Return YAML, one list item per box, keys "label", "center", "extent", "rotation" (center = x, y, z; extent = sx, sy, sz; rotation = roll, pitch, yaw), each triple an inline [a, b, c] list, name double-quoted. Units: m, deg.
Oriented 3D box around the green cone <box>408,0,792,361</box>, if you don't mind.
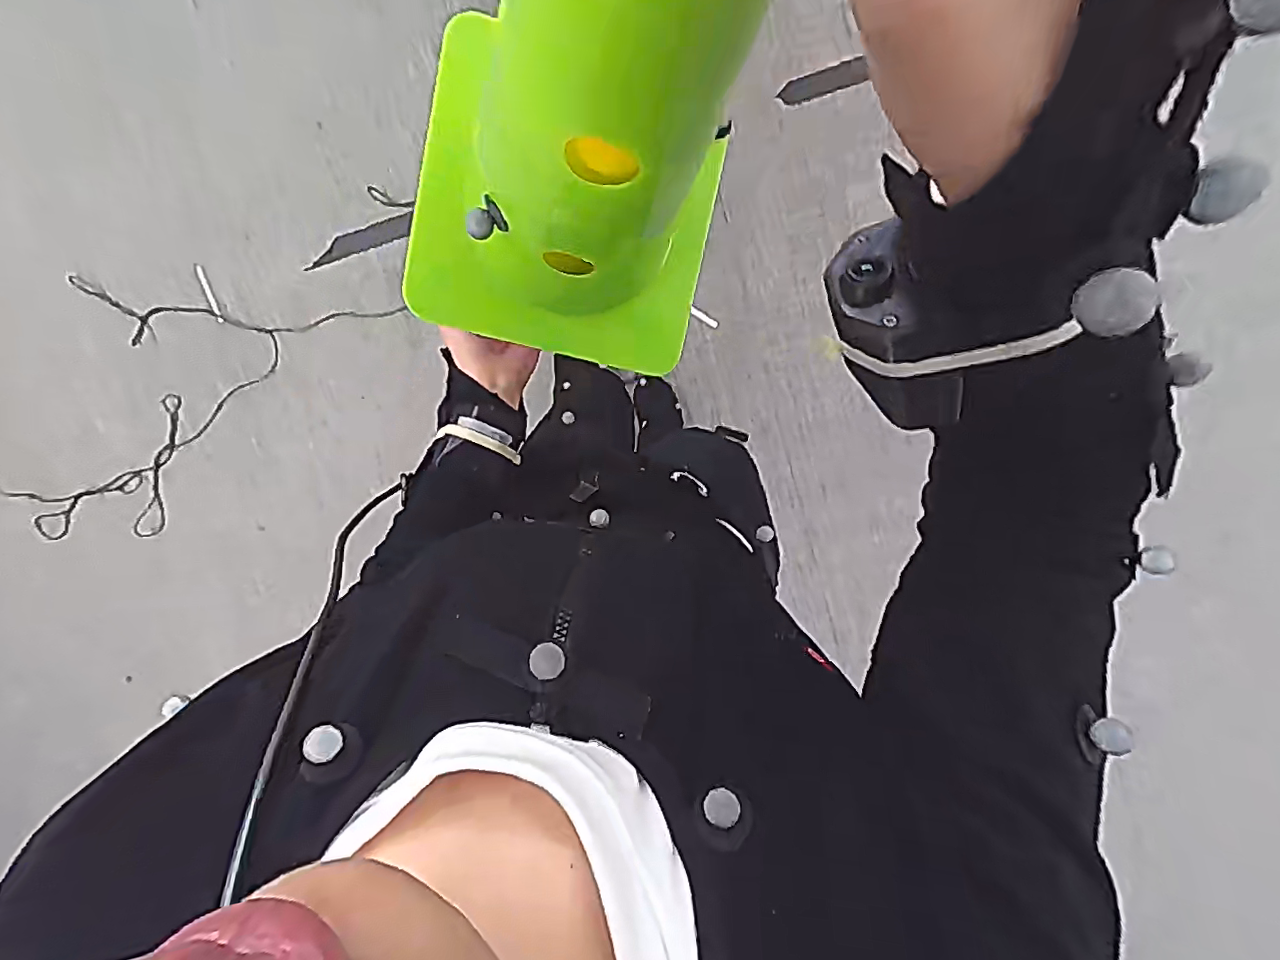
- label: "green cone"
  center: [-0.003, -0.168, 0.199]
  extent: [0.200, 0.368, 0.202]
  rotation: [11, 97, -14]
